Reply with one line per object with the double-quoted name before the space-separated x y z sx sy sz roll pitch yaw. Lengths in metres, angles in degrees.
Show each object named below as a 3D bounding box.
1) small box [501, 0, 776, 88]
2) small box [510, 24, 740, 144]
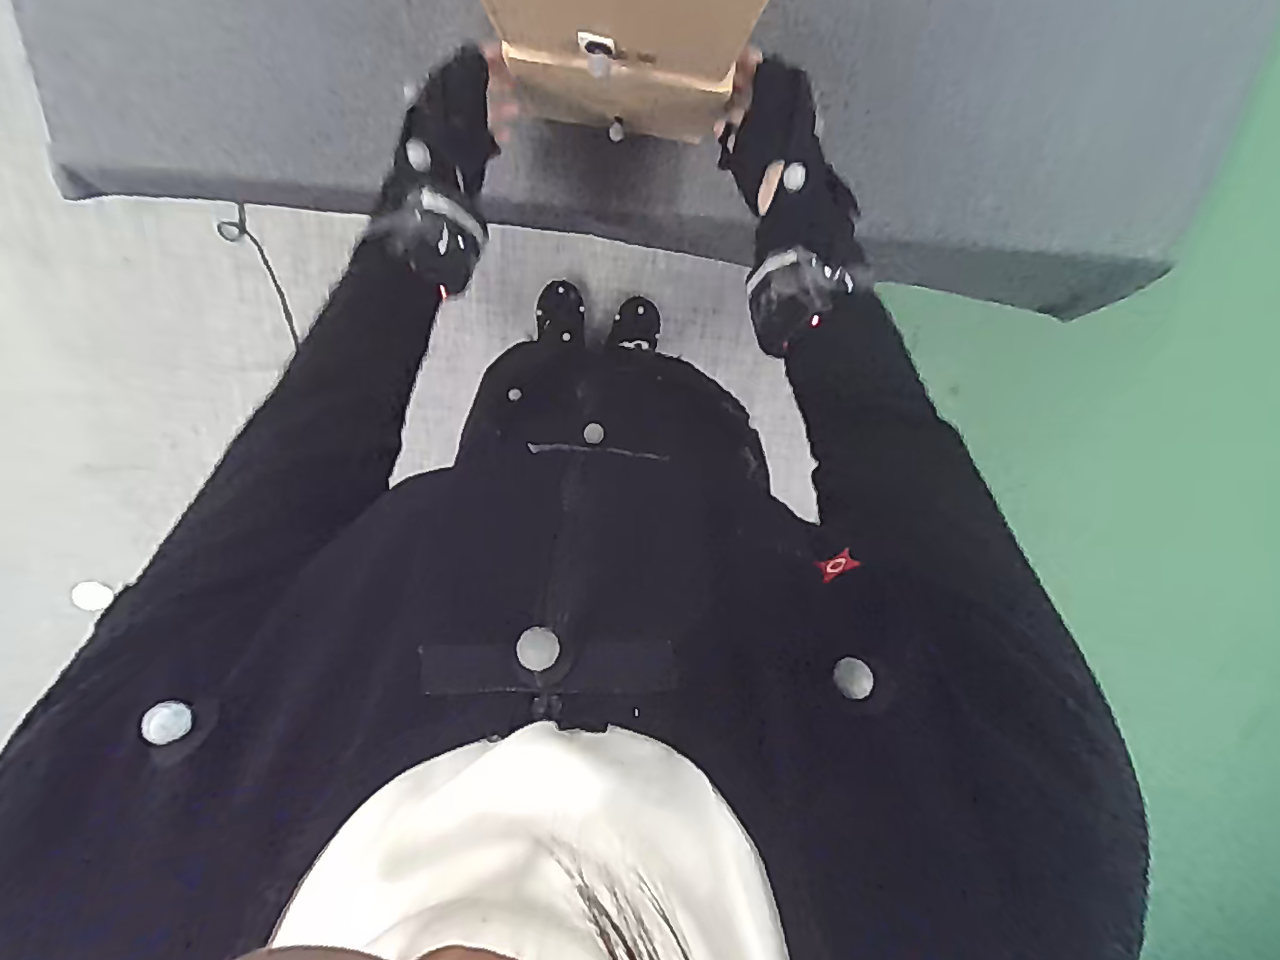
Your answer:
"small box" -0.001 -0.361 0.307 0.168 0.176 0.179 5 111 -3
"small box" -0.007 -0.407 0.462 0.179 0.176 0.168 6 109 -5
